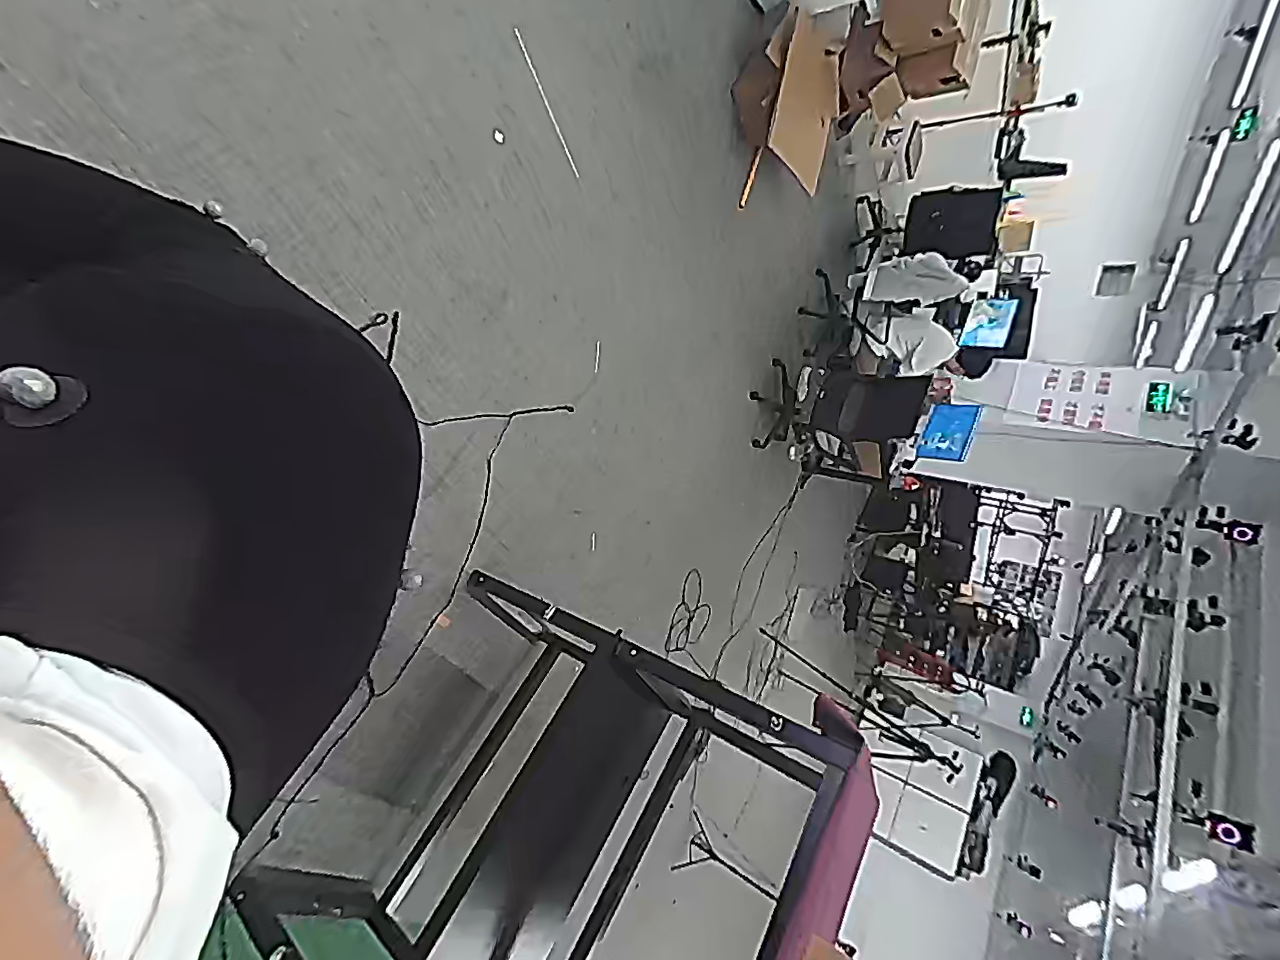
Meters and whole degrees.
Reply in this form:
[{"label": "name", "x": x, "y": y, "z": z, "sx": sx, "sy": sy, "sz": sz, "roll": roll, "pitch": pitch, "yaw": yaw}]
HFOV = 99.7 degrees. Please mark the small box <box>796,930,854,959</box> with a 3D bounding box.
[{"label": "small box", "x": 0.403, "y": 1.094, "z": 1.132, "sx": 0.168, "sy": 0.176, "sz": 0.179, "roll": -51, "pitch": 139, "yaw": -30}]
